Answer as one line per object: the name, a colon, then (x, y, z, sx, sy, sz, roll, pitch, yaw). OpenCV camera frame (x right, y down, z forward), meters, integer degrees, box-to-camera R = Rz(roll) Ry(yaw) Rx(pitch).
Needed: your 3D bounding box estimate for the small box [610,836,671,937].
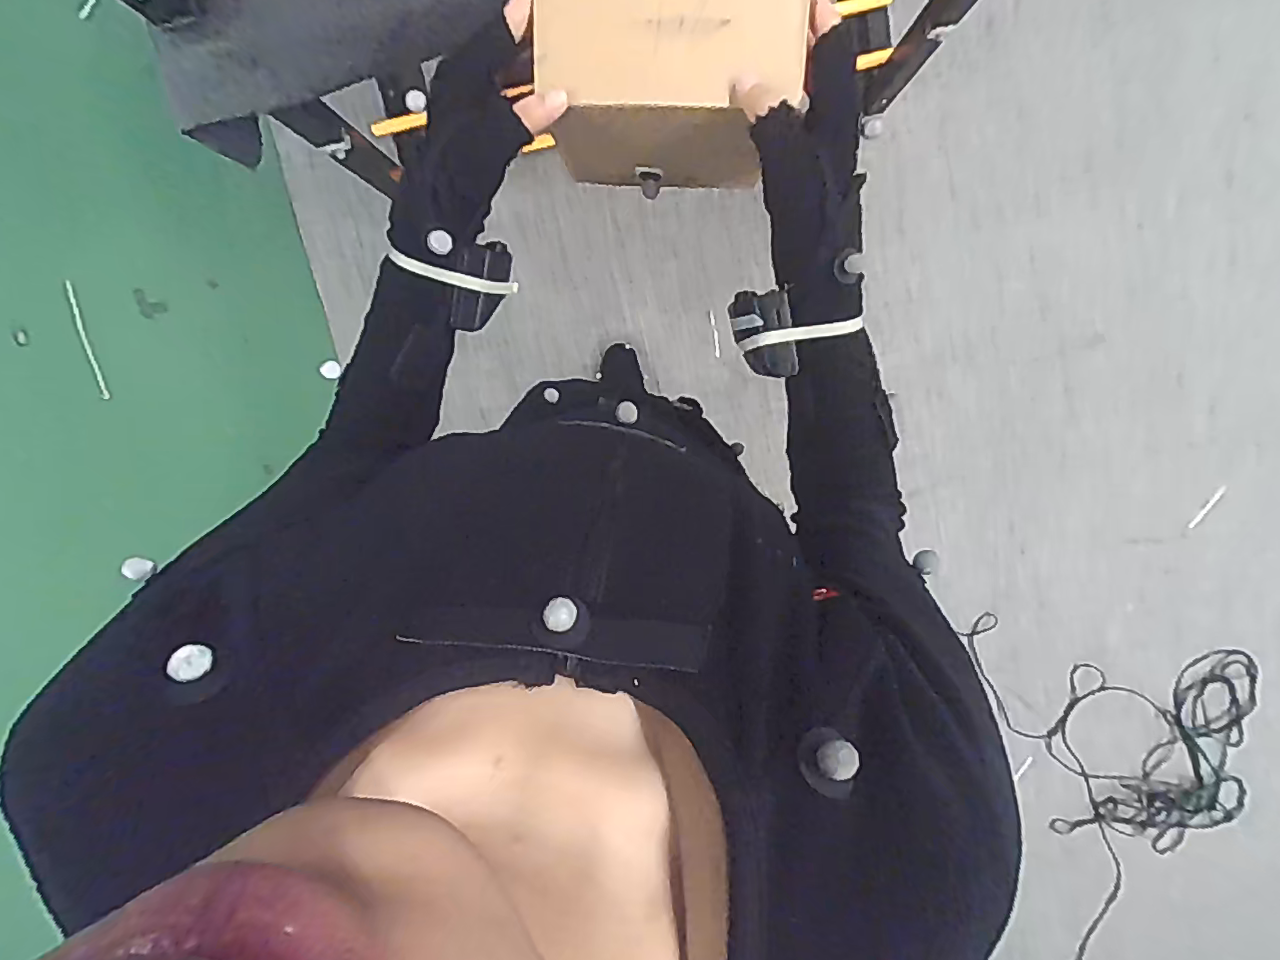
small box: (0.006, 1.191, 1.592, 0.168, 0.176, 0.179, -5, 99, 2)
